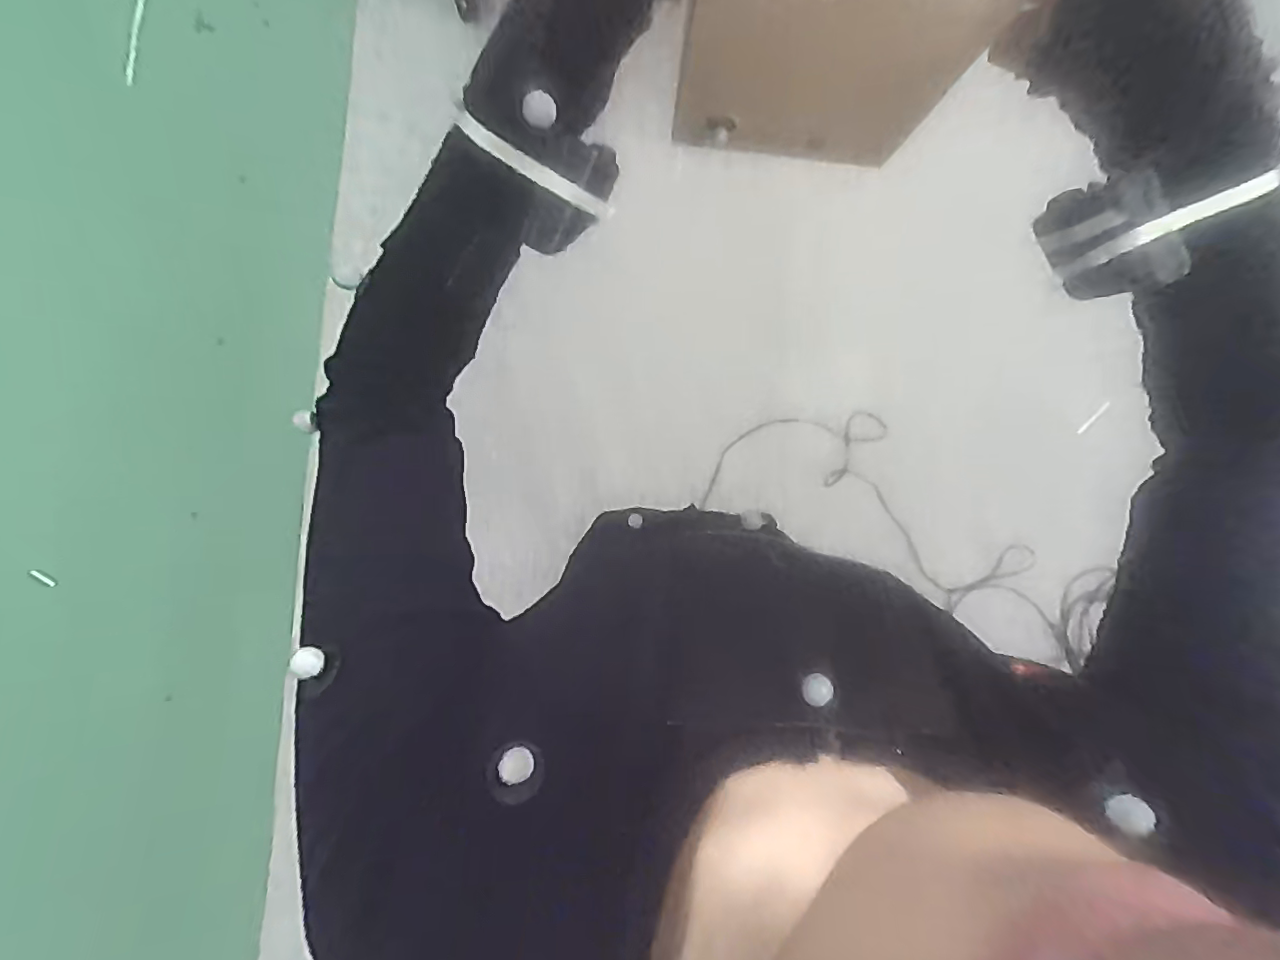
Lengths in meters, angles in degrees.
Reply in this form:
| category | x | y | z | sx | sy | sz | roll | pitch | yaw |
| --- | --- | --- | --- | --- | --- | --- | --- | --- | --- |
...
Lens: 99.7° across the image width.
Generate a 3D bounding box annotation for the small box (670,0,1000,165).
| category | x | y | z | sx | sy | sz | roll | pitch | yaw |
| --- | --- | --- | --- | --- | --- | --- | --- | --- | --- |
| small box | 0.112 | -0.328 | 0.332 | 0.168 | 0.176 | 0.179 | 5 | 90 | -2 |
